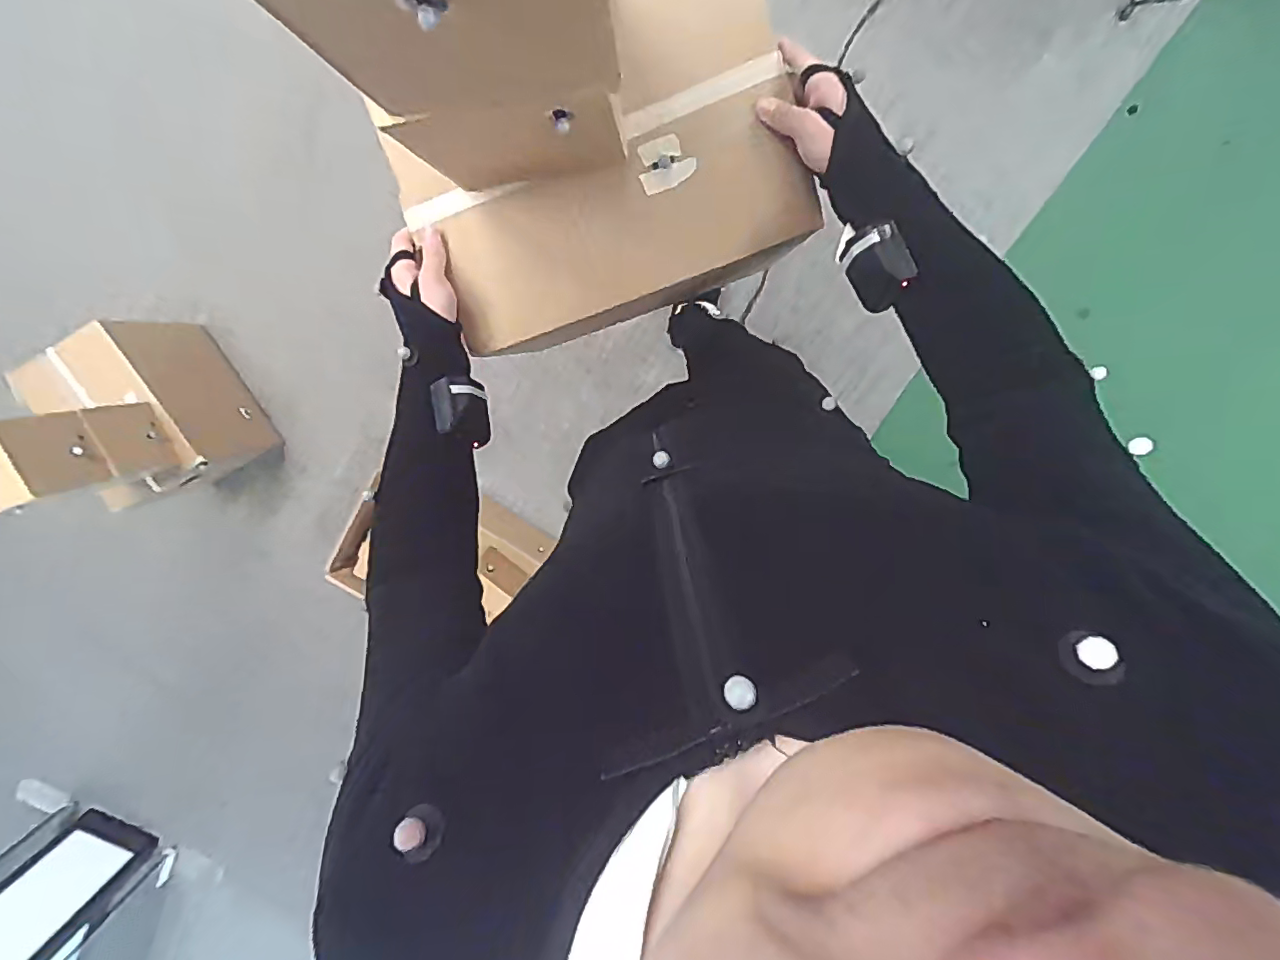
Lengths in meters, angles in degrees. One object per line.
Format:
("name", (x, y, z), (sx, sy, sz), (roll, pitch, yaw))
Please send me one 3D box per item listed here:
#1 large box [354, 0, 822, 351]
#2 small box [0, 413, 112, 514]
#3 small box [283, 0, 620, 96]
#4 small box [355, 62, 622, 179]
("large box", (-0.044, -0.380, 0.682), (0.408, 0.320, 0.320), (-18, 104, 7))
("small box", (-1.279, -0.031, 1.121), (0.179, 0.176, 0.168), (-17, 103, 6))
("small box", (-0.108, -0.328, 0.280), (0.179, 0.176, 0.168), (-2, 105, 3))
("small box", (-0.117, -0.366, 0.439), (0.179, 0.176, 0.168), (-7, 103, 5))
